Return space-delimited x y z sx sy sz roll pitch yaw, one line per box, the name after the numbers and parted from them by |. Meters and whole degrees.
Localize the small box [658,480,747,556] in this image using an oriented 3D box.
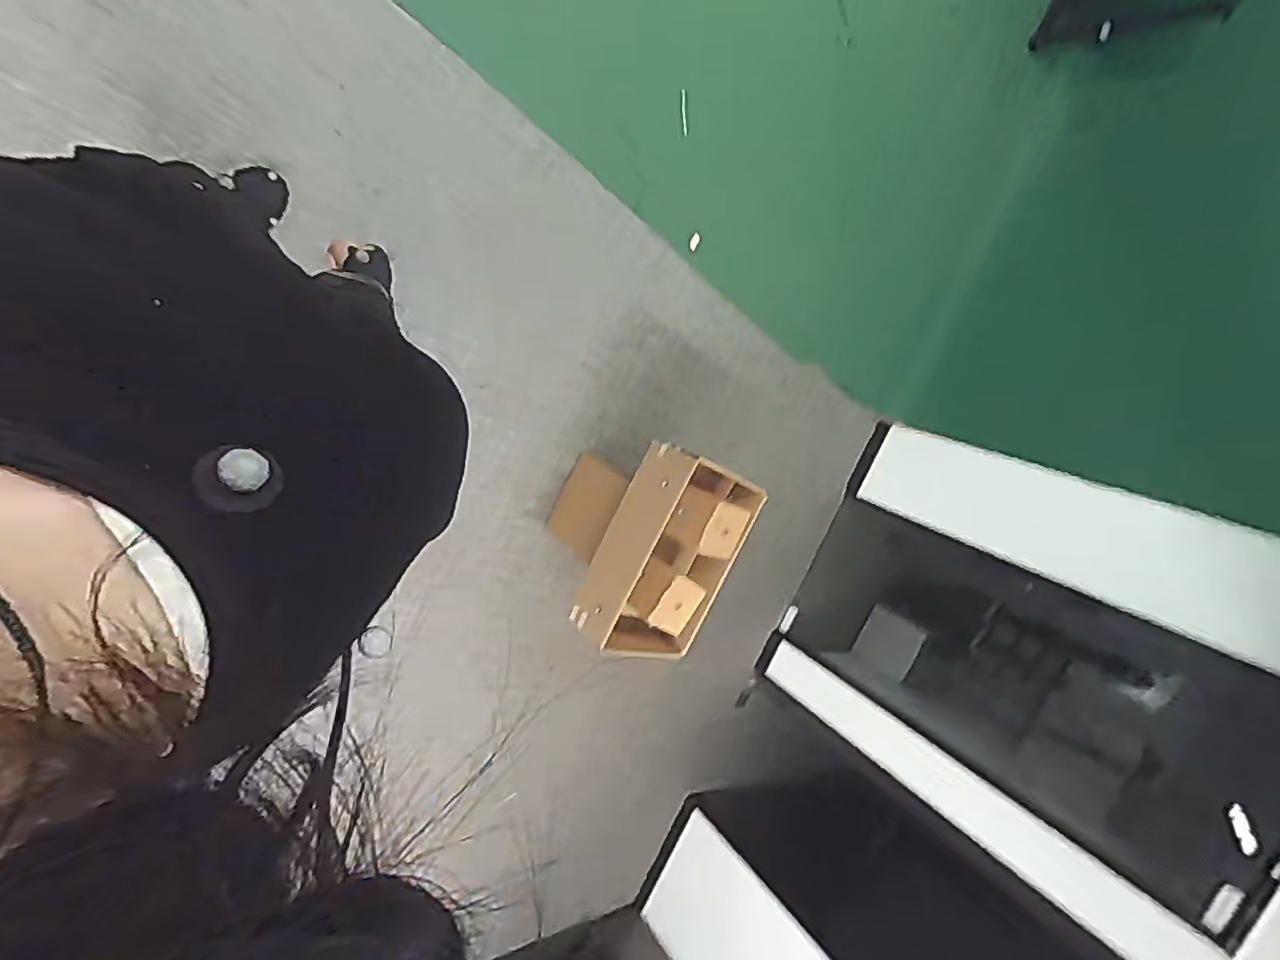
0.190 0.115 1.665 0.179 0.176 0.168 18 98 -44 | small box
